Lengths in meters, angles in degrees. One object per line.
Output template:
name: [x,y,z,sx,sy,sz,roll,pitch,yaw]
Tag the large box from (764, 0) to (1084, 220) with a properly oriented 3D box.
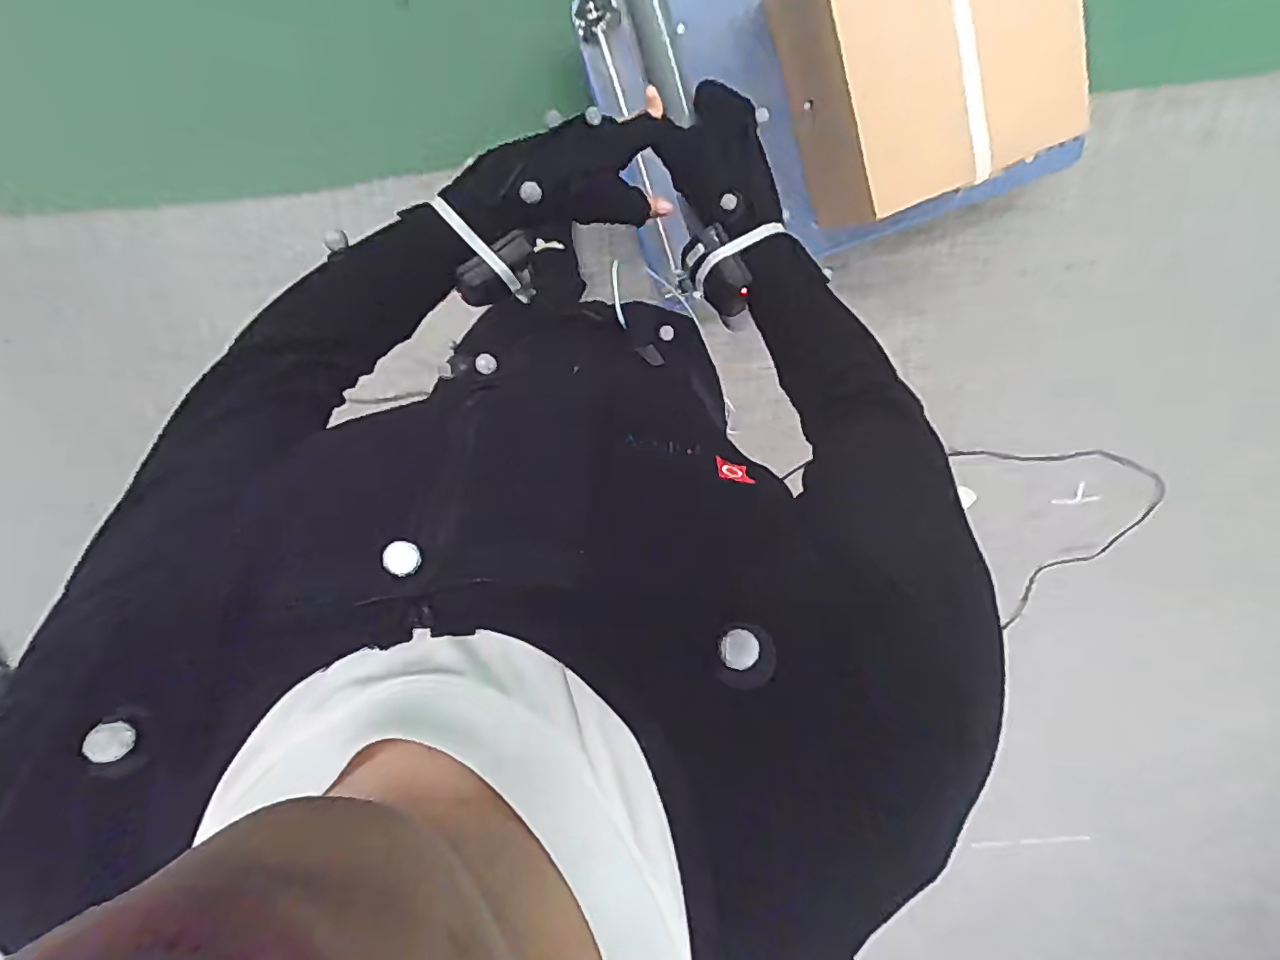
large box: [0.430,-0.693,0.875,0.320,0.320,0.408,-21,111,9]
